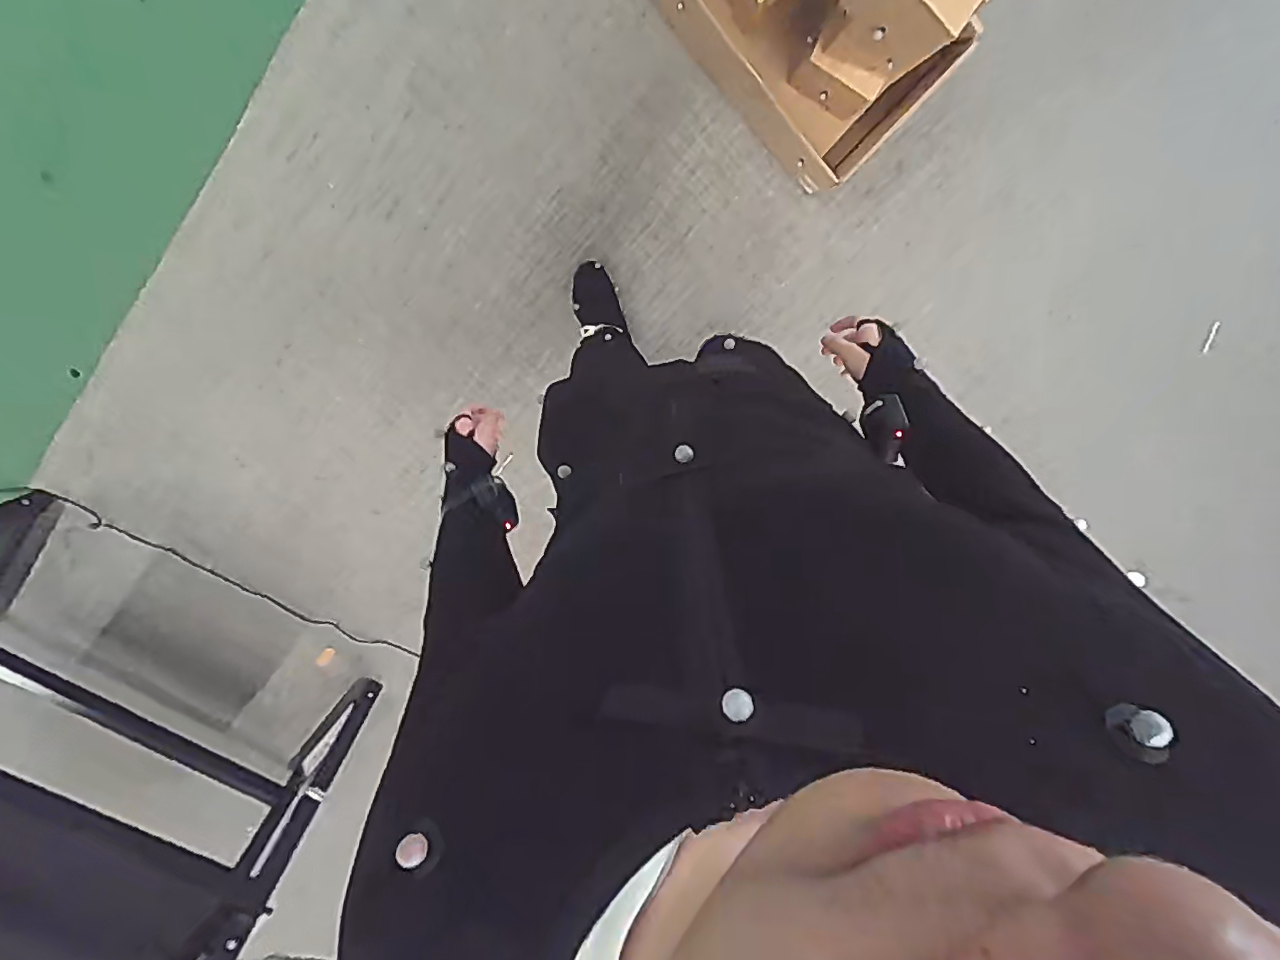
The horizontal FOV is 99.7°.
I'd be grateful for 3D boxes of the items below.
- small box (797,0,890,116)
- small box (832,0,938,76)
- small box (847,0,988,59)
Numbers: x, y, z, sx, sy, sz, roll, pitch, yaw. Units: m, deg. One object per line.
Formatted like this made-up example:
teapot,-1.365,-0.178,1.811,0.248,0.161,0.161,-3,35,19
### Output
small box,0.464,-0.934,1.172,0.168,0.176,0.179,26,108,-11
small box,0.484,-0.901,1.010,0.168,0.176,0.179,15,110,-8
small box,0.470,-0.823,0.865,0.179,0.176,0.168,34,107,-15
